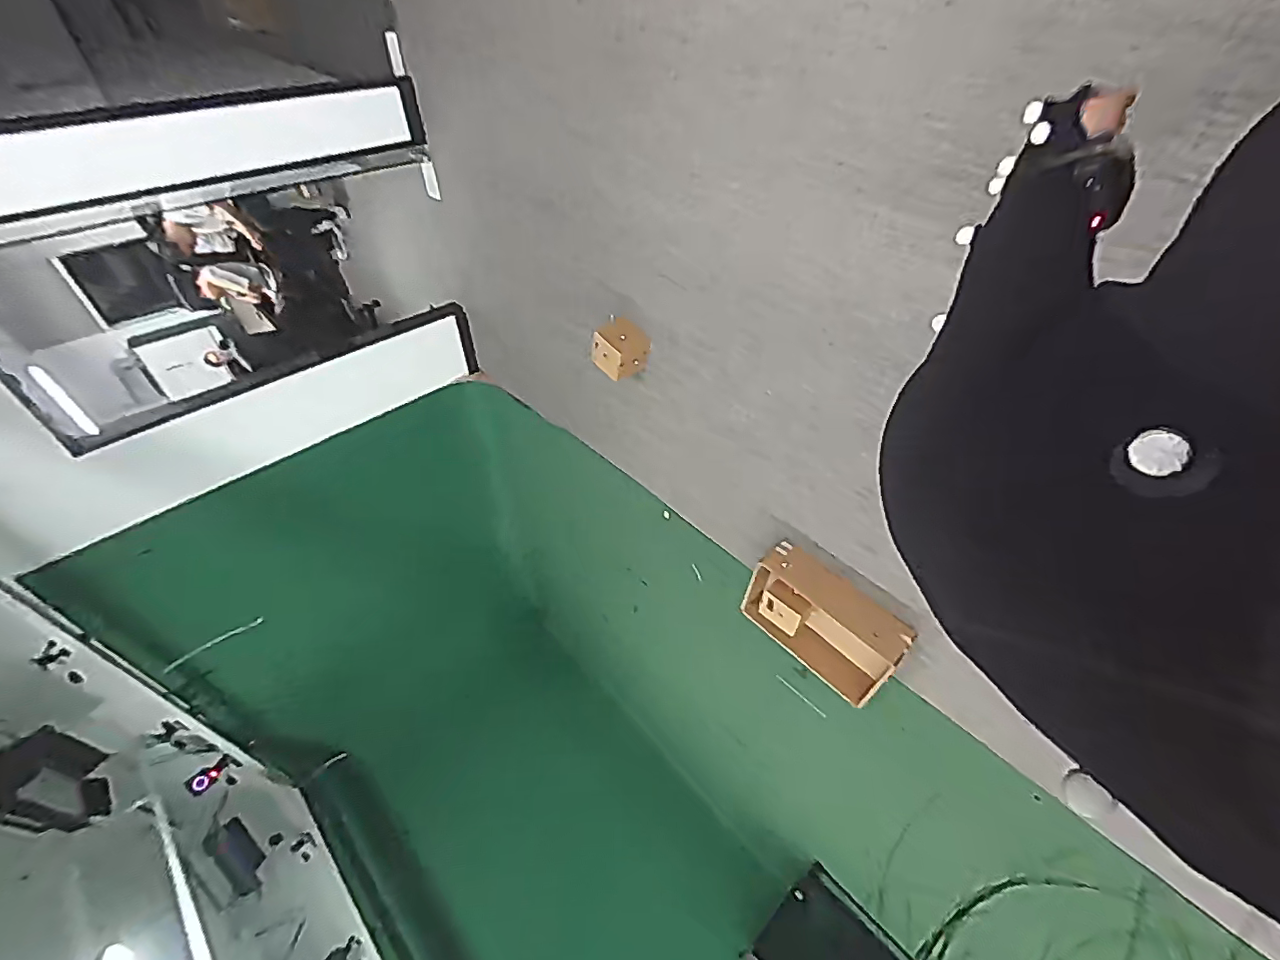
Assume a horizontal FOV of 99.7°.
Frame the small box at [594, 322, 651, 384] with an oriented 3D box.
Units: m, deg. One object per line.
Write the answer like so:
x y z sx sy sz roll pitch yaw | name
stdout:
-0.073 -0.558 2.351 0.179 0.176 0.168 44 148 19 | small box
